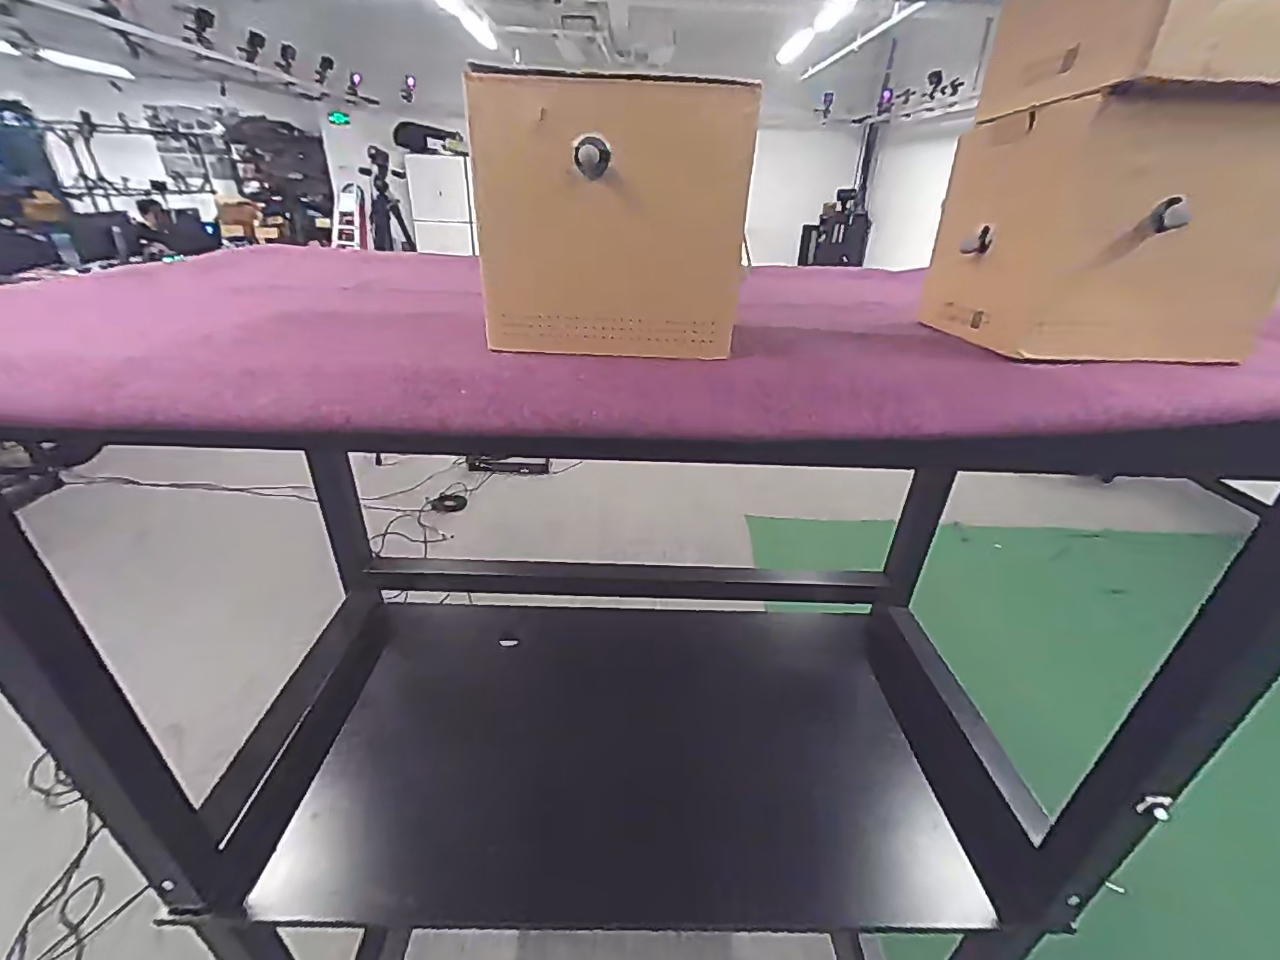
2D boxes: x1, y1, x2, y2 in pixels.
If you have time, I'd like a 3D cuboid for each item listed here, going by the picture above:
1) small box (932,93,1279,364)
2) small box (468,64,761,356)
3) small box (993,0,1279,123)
[{"bbox_3d":[0.363,-0.193,0.436,0.179,0.176,0.168,1,27,0],"label":"small box"},{"bbox_3d":[-0.016,-0.200,0.421,0.179,0.176,0.168,3,29,0],"label":"small box"},{"bbox_3d":[0.367,-0.333,0.351,0.179,0.176,0.168,1,26,0],"label":"small box"}]
